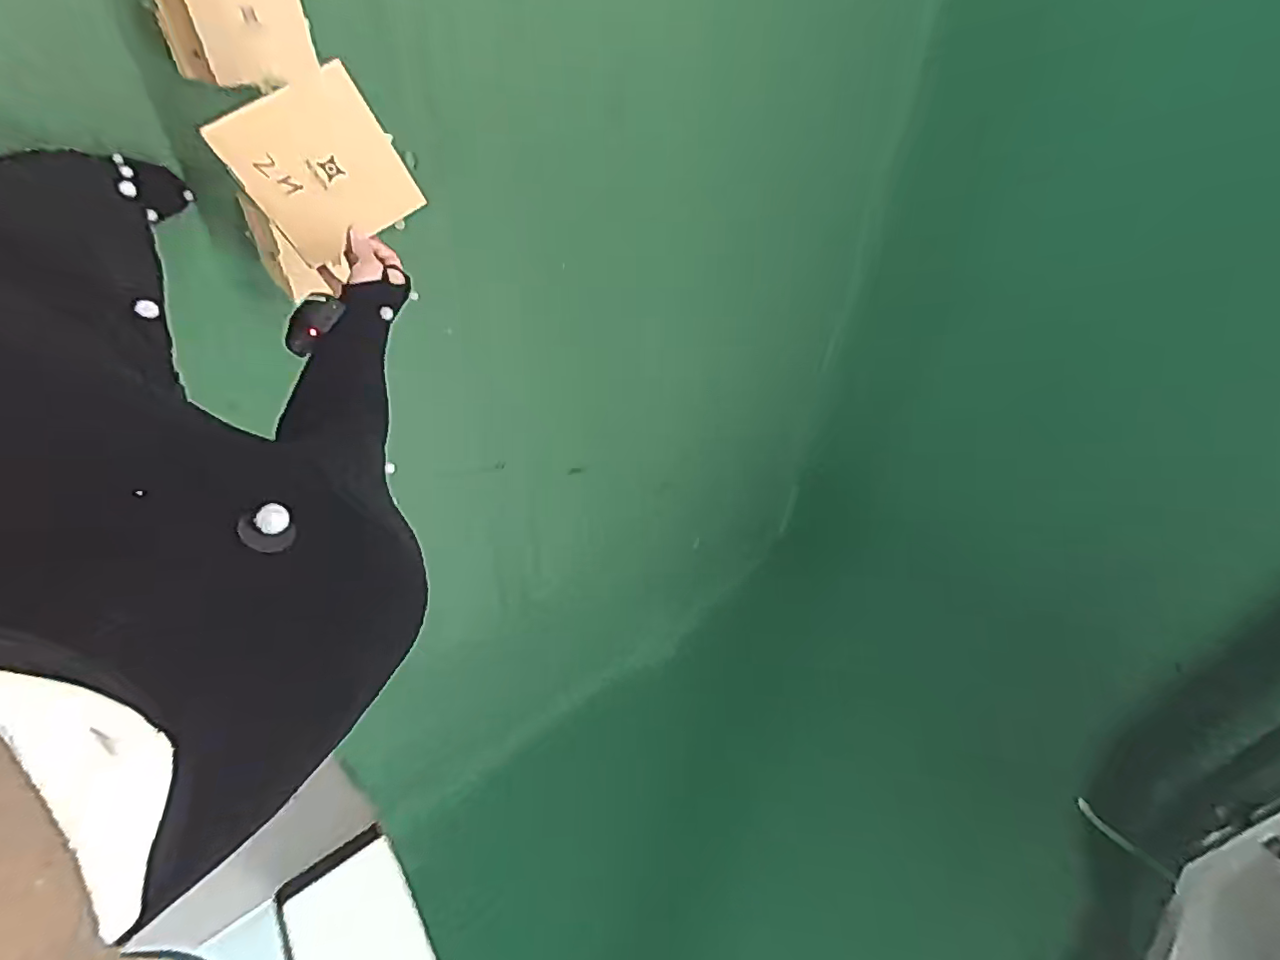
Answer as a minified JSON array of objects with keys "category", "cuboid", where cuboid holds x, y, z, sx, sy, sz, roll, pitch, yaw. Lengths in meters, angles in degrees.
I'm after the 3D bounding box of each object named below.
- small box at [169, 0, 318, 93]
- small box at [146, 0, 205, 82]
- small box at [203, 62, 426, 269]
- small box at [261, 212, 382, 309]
[{"category":"small box","cuboid":[-0.673,-0.769,0.914,0.168,0.176,0.179,-27,135,-30]},{"category":"small box","cuboid":[-0.788,-0.842,1.004,0.179,0.176,0.168,-28,136,-30]},{"category":"small box","cuboid":[-0.416,-0.408,0.706,0.179,0.176,0.168,-36,131,-8]},{"category":"small box","cuboid":[-0.674,-0.478,1.142,0.179,0.176,0.168,-22,134,-31]}]
